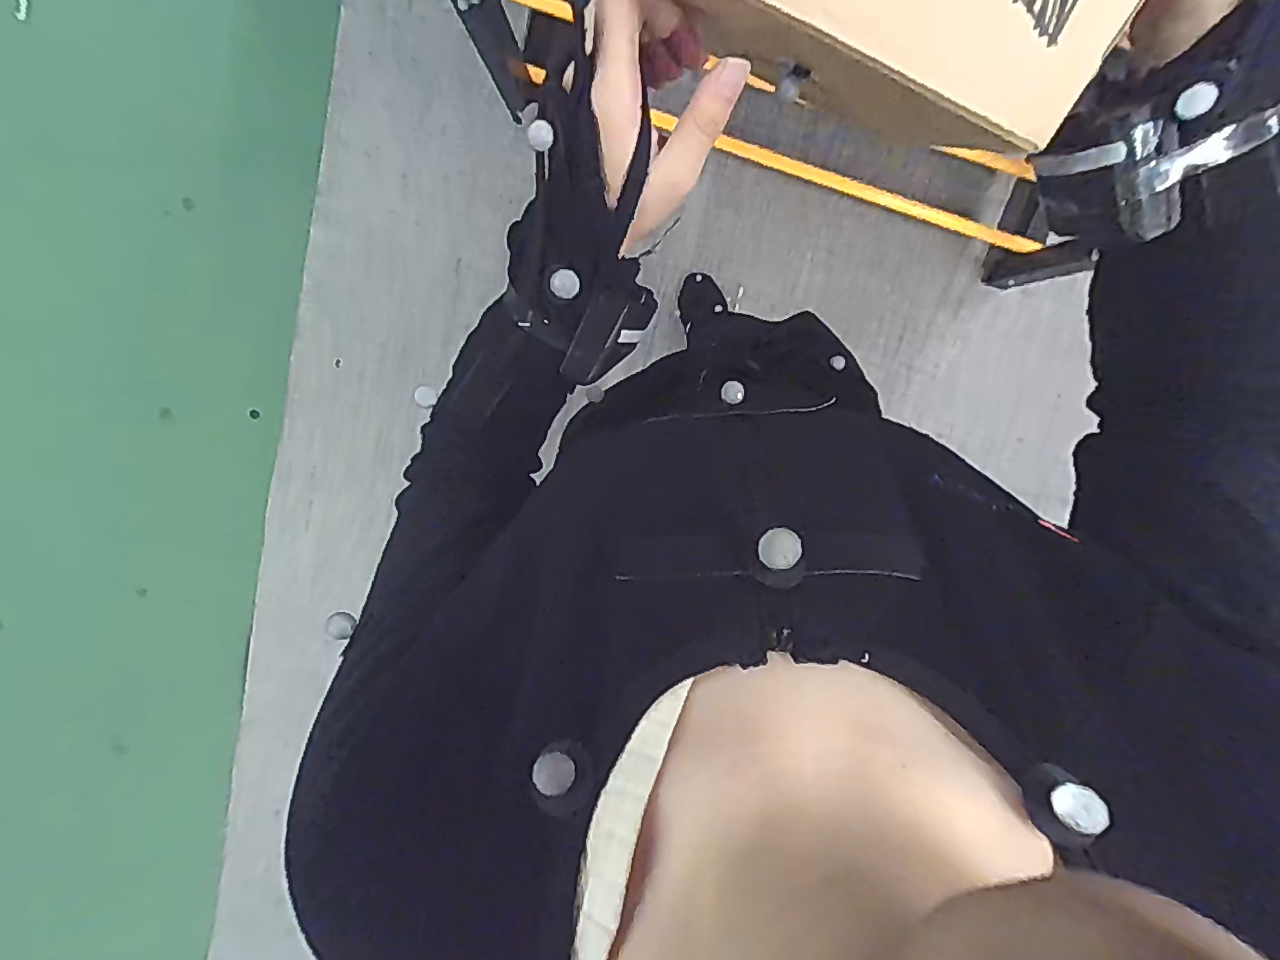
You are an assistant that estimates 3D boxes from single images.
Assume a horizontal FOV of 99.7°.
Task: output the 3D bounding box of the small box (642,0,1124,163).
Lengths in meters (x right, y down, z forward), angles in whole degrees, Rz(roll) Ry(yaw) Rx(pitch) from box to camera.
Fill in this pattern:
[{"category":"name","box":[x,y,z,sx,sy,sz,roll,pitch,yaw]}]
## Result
[{"category":"small box","box":[0.109,-0.268,0.236,0.179,0.176,0.168,19,122,-11]}]
